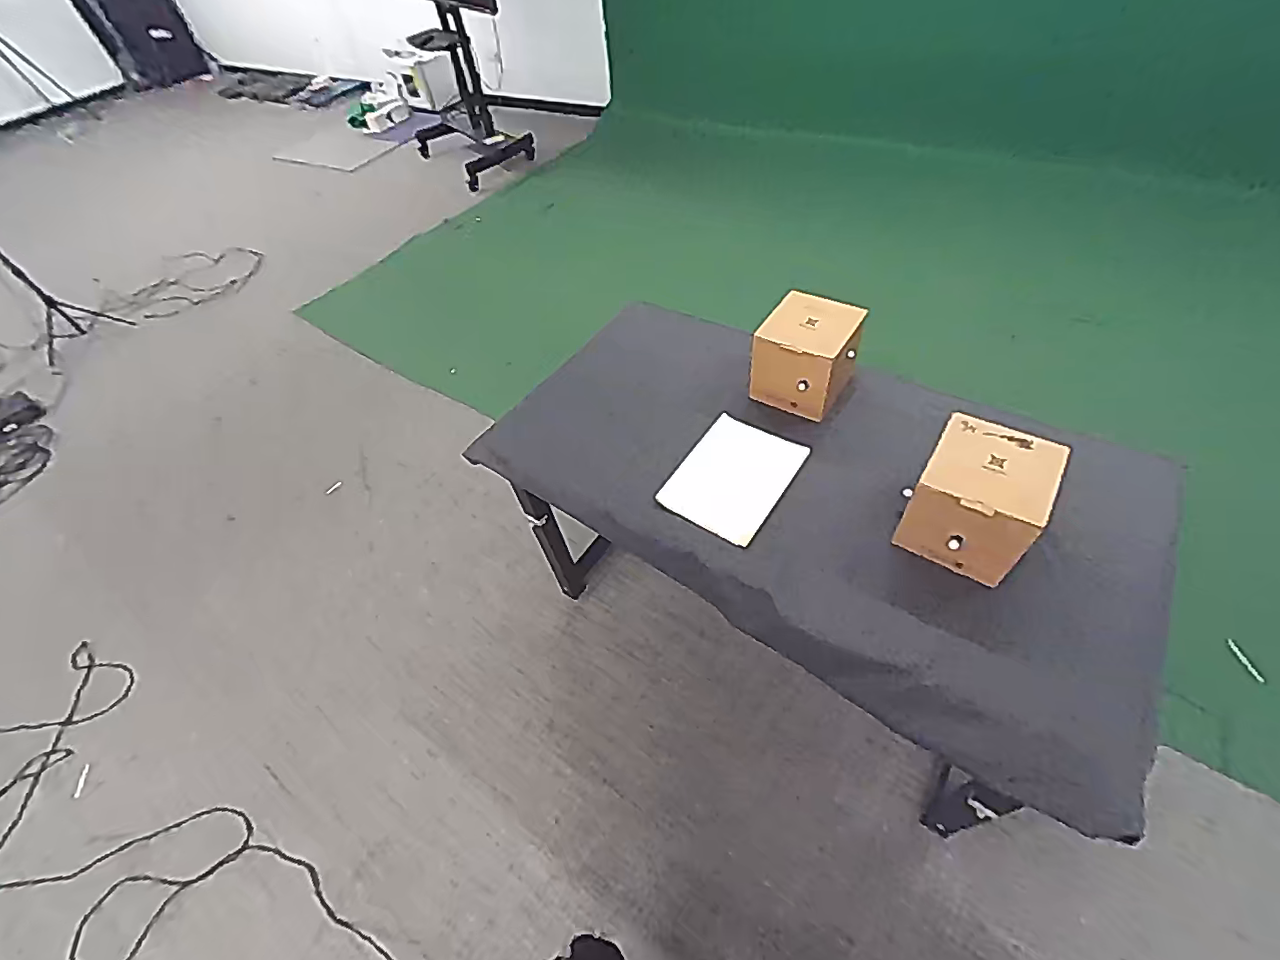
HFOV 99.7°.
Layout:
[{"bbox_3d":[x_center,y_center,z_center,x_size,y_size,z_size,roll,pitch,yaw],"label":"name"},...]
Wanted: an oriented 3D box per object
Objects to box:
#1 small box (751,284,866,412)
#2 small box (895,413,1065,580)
[{"bbox_3d":[0.340,-0.269,1.115,0.168,0.176,0.179,26,58,24],"label":"small box"},{"bbox_3d":[0.531,0.030,0.868,0.168,0.176,0.179,26,60,25],"label":"small box"}]
